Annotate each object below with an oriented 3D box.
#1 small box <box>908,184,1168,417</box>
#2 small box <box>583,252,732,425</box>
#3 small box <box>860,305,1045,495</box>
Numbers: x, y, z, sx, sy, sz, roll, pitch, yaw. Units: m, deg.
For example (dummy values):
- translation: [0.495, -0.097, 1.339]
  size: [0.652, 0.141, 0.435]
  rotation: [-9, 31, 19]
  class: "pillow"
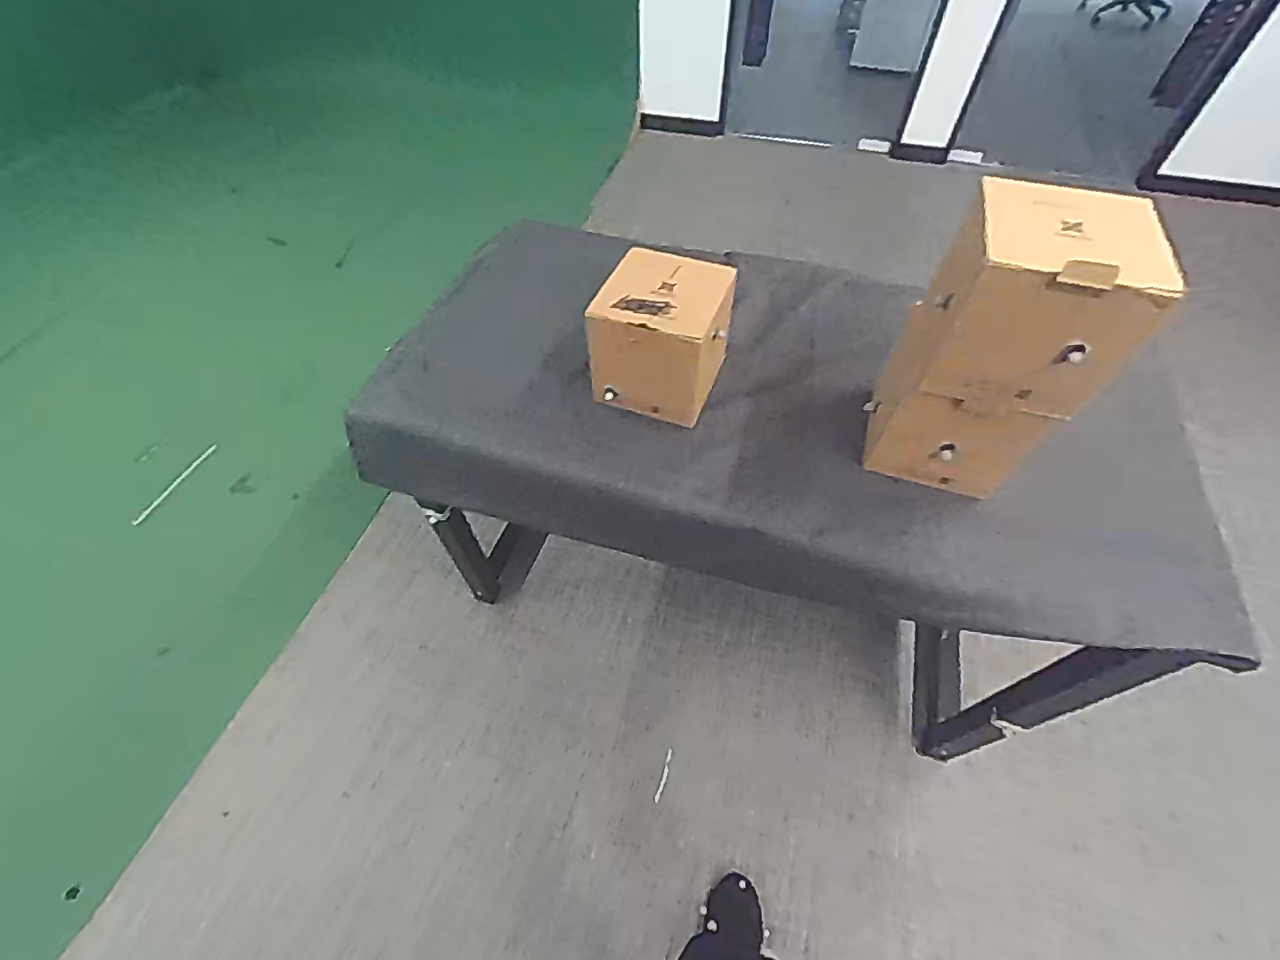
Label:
- translation: [0.417, -0.197, 0.604]
  size: [0.168, 0.176, 0.179]
  rotation: [15, 54, 11]
  class: "small box"
- translation: [0.029, -0.211, 0.819]
  size: [0.168, 0.176, 0.179]
  rotation: [17, 54, 12]
  class: "small box"
- translation: [0.414, -0.106, 0.739]
  size: [0.168, 0.176, 0.179]
  rotation: [16, 55, 12]
  class: "small box"
